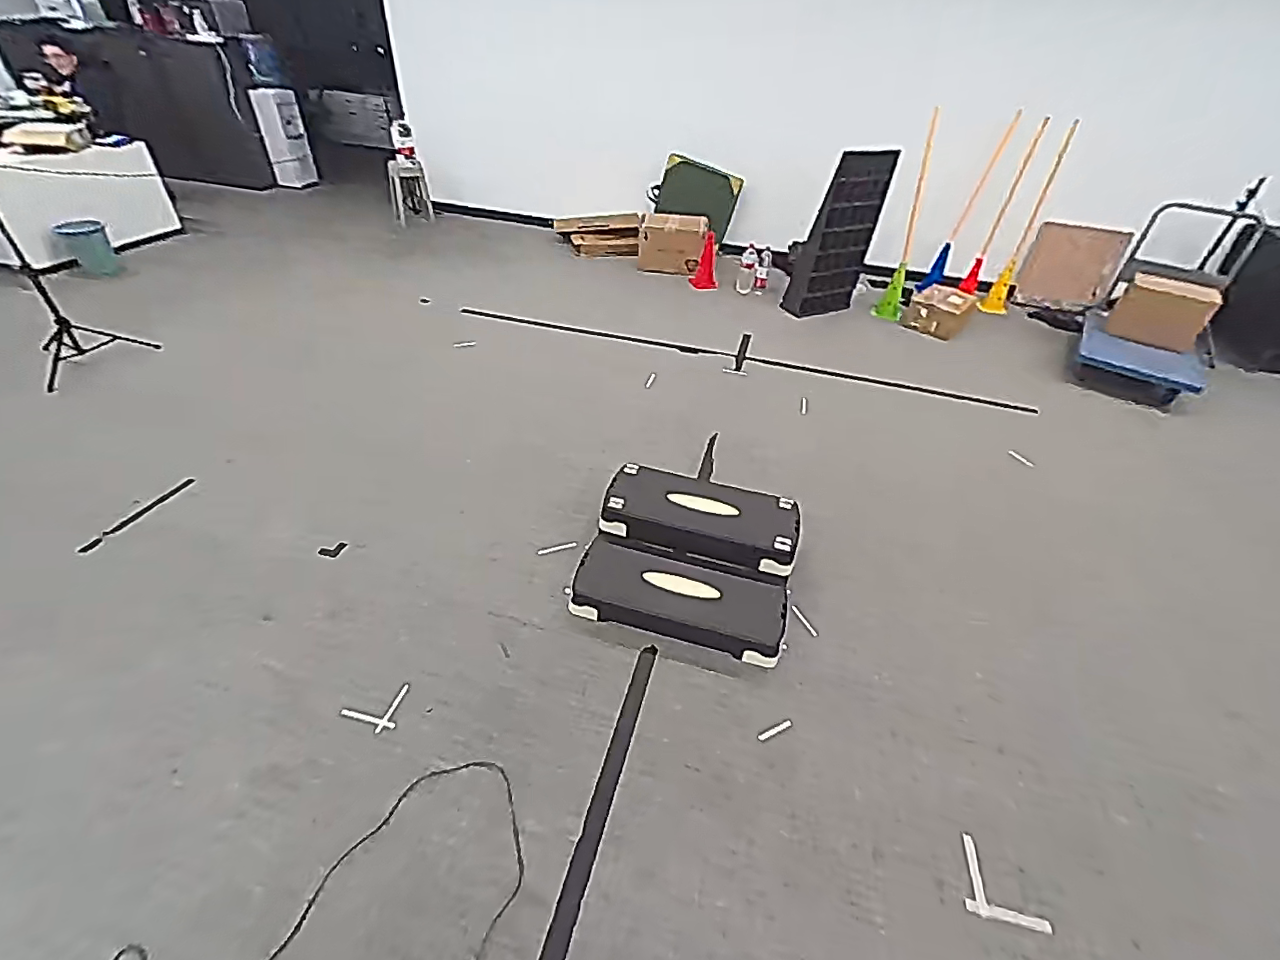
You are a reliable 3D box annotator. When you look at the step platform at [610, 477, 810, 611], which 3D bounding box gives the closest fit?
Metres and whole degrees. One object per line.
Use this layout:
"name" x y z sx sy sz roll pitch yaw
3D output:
"step platform" 0.243 0.210 1.906 0.684 0.204 0.286 16 40 13
